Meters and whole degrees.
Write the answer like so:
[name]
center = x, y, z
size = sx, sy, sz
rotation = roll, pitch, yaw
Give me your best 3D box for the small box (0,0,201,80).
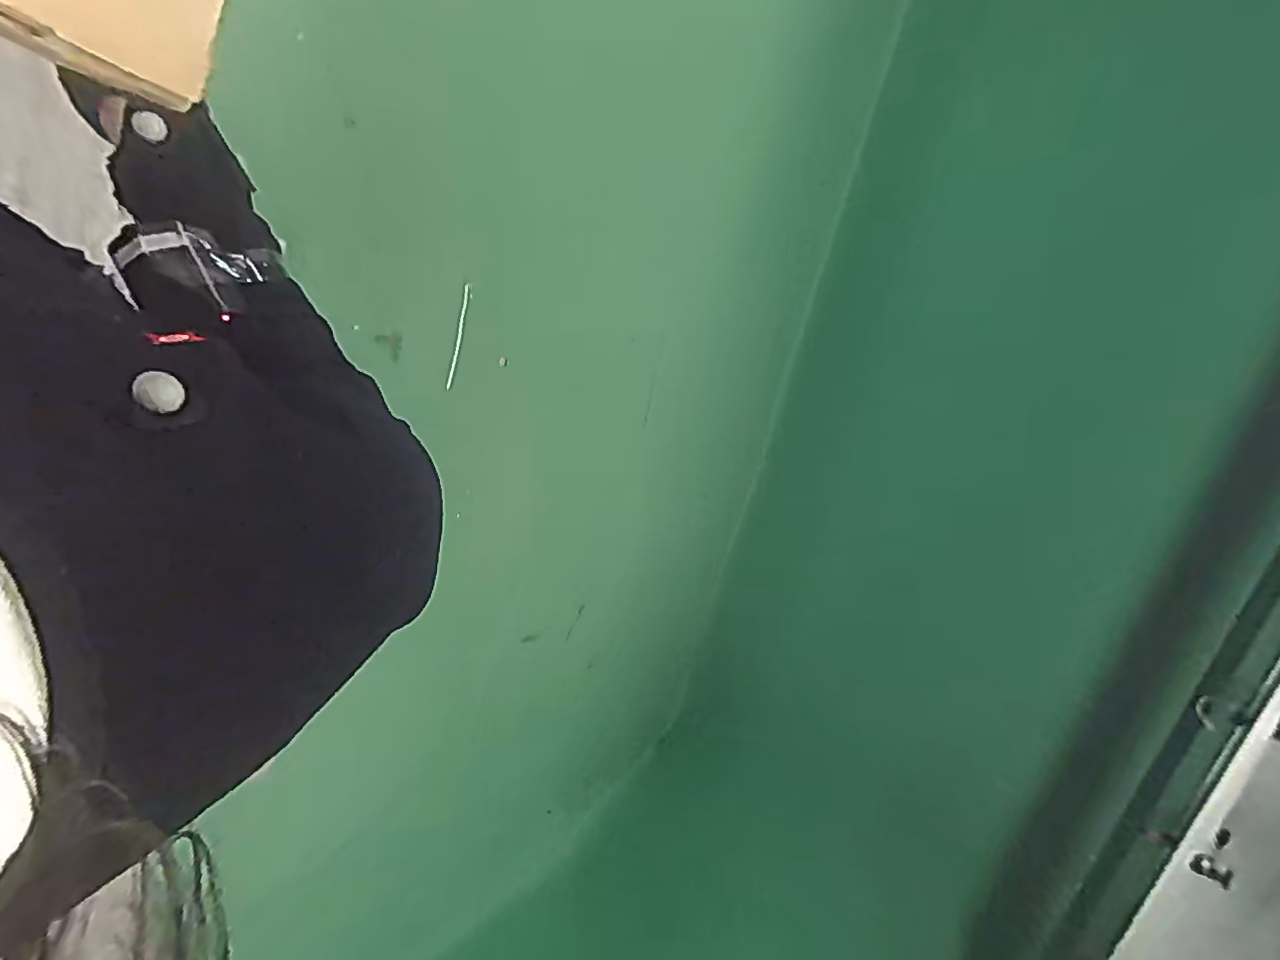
[small box]
center = -0.208, -0.236, 0.118
size = 0.168, 0.176, 0.179
rotation = 2, 115, -59
